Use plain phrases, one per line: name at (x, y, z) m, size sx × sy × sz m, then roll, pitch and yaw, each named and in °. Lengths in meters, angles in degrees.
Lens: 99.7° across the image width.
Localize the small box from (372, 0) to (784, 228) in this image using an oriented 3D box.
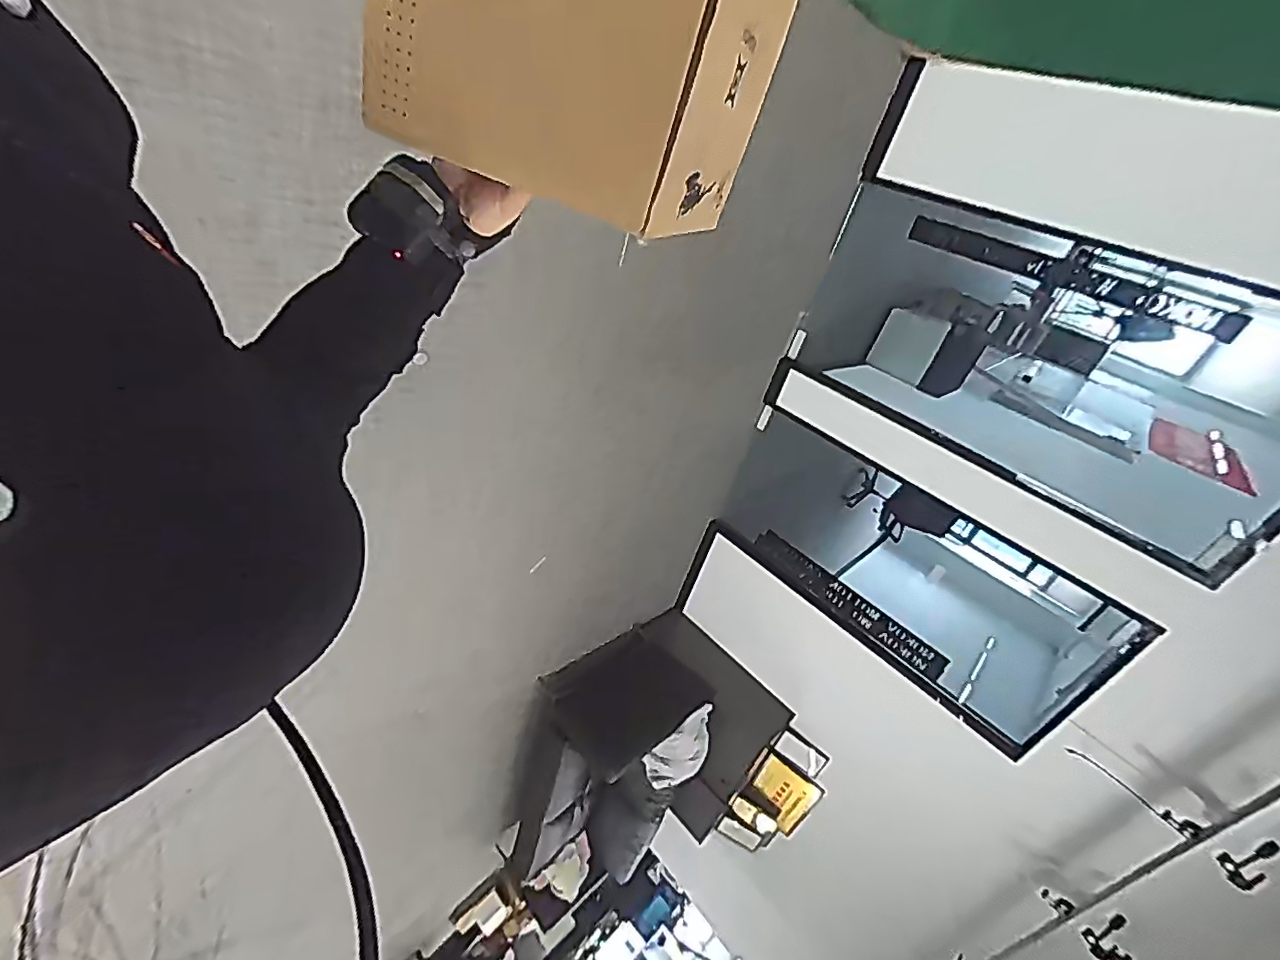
small box at (-0.024, -0.261, 0.302) m, size 0.168 × 0.176 × 0.179 m, roll -52°, pitch 164°, yaw -57°
